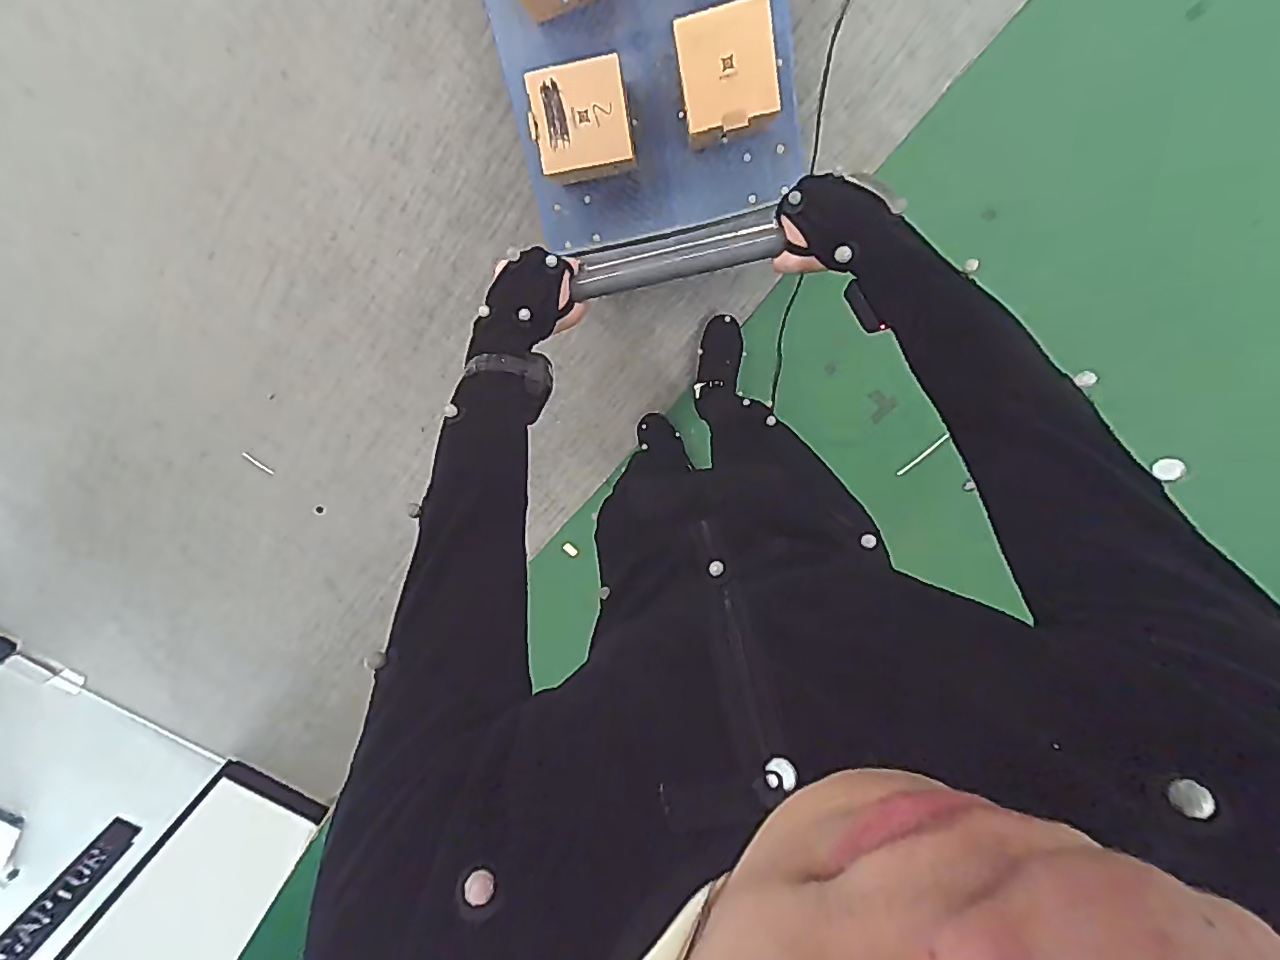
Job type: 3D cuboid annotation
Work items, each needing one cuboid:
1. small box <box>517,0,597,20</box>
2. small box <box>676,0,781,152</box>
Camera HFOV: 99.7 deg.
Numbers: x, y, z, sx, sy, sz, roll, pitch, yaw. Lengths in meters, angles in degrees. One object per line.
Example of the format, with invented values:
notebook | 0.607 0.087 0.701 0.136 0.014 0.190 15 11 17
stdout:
small box | -0.159 -0.958 0.952 0.168 0.176 0.179 -15 111 10
small box | 0.161 -0.748 1.022 0.168 0.176 0.179 -10 113 8
